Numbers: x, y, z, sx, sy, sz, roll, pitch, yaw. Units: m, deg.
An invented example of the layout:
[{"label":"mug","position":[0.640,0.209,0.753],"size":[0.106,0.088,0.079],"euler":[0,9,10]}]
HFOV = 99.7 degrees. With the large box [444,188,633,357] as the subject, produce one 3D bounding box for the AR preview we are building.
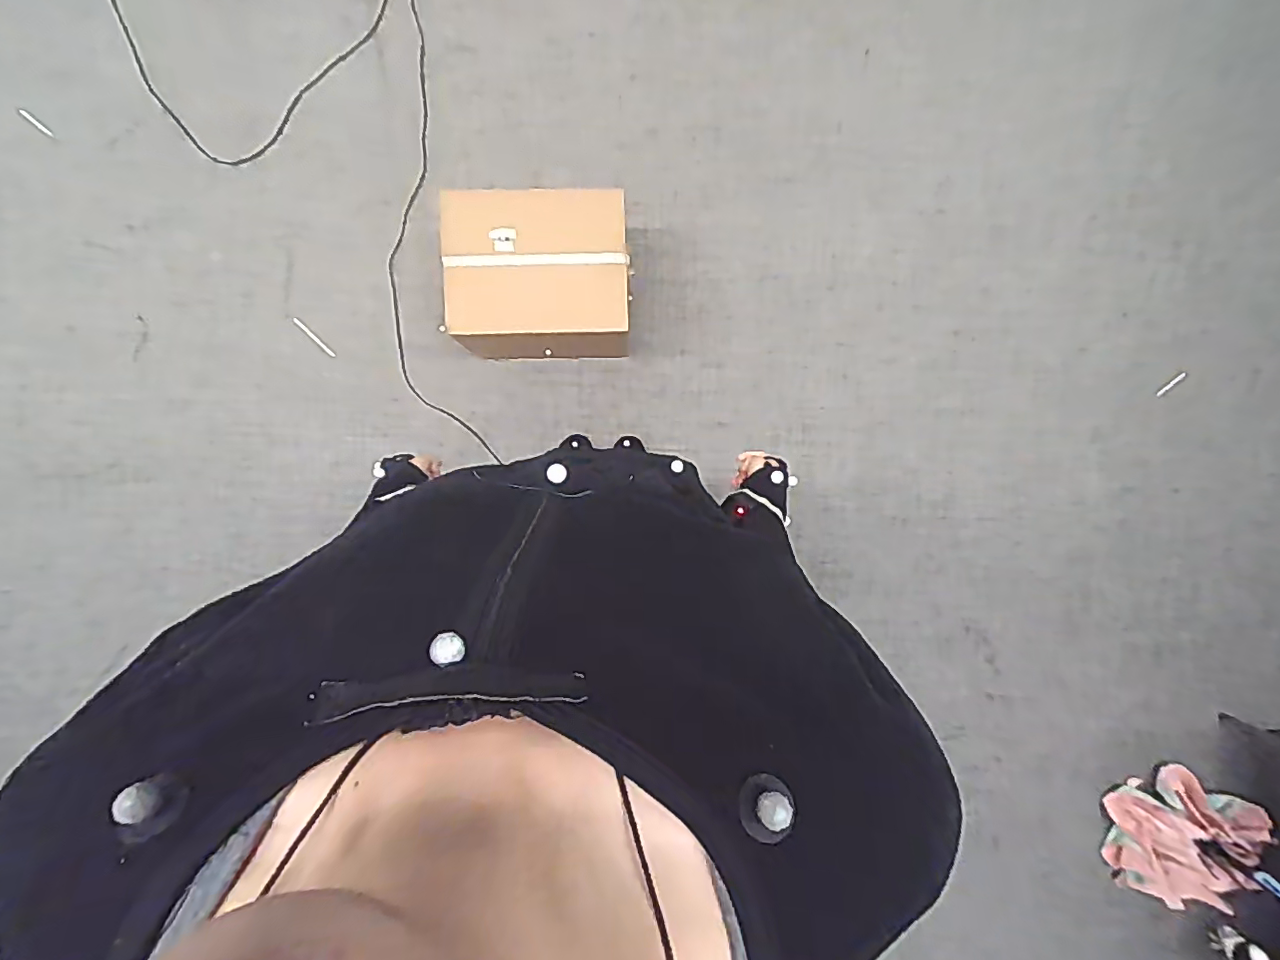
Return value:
[{"label":"large box","position":[-0.226,-0.487,1.336],"size":[0.408,0.320,0.320],"euler":[-2,92,-1]}]
